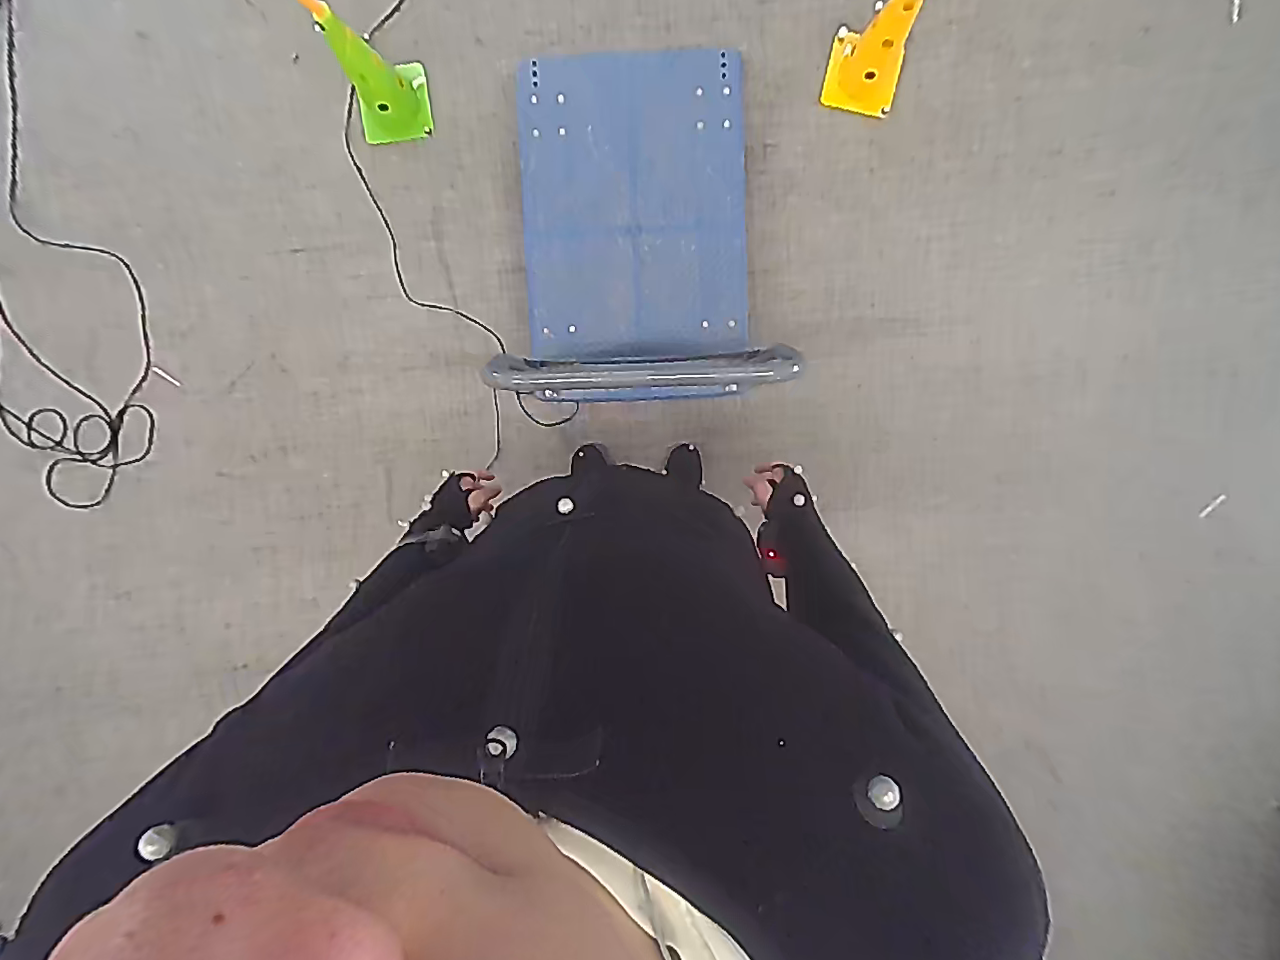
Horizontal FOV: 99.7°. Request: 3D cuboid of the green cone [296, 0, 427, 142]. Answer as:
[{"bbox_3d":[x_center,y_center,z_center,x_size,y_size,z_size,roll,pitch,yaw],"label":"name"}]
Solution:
[{"bbox_3d":[-0.717,-1.056,1.353,0.202,0.368,0.200,-8,95,3],"label":"green cone"}]
